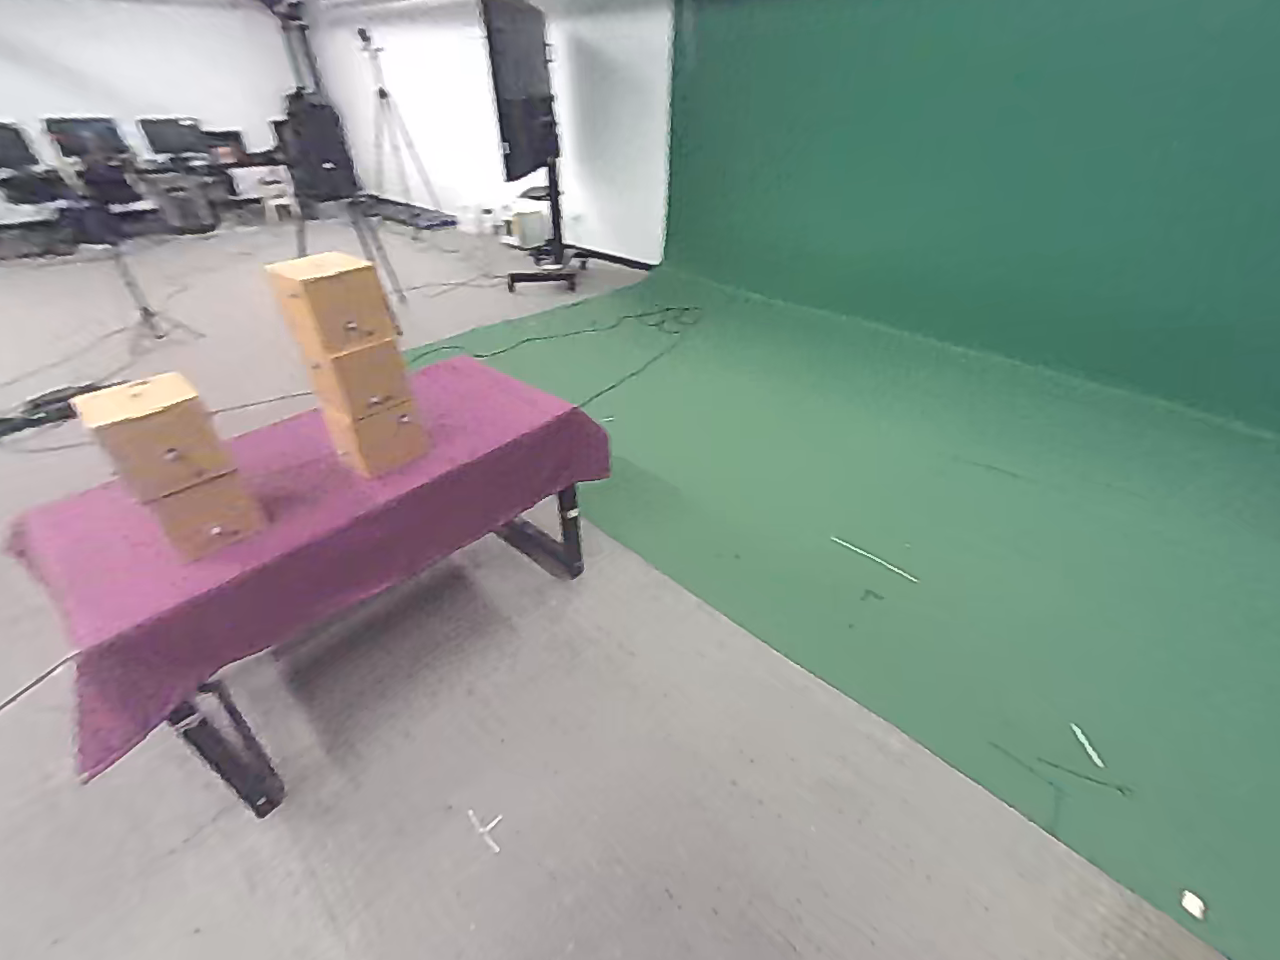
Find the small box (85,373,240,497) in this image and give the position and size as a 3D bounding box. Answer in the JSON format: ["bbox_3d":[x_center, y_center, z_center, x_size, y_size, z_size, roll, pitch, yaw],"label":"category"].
[{"bbox_3d":[-0.942,-0.087,1.077,0.179,0.176,0.168,29,44,33],"label":"small box"}]

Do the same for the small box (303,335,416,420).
[{"bbox_3d":[-0.682,-0.267,1.326,0.179,0.176,0.168,27,44,31],"label":"small box"}]

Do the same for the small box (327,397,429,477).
[{"bbox_3d":[-0.678,-0.135,1.421,0.168,0.176,0.179,26,44,32],"label":"small box"}]

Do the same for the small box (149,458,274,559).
[{"bbox_3d":[-0.945,0.041,1.180,0.179,0.176,0.168,29,45,33],"label":"small box"}]

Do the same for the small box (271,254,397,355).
[{"bbox_3d":[-0.689,-0.400,1.231,0.179,0.176,0.168,25,44,29],"label":"small box"}]
